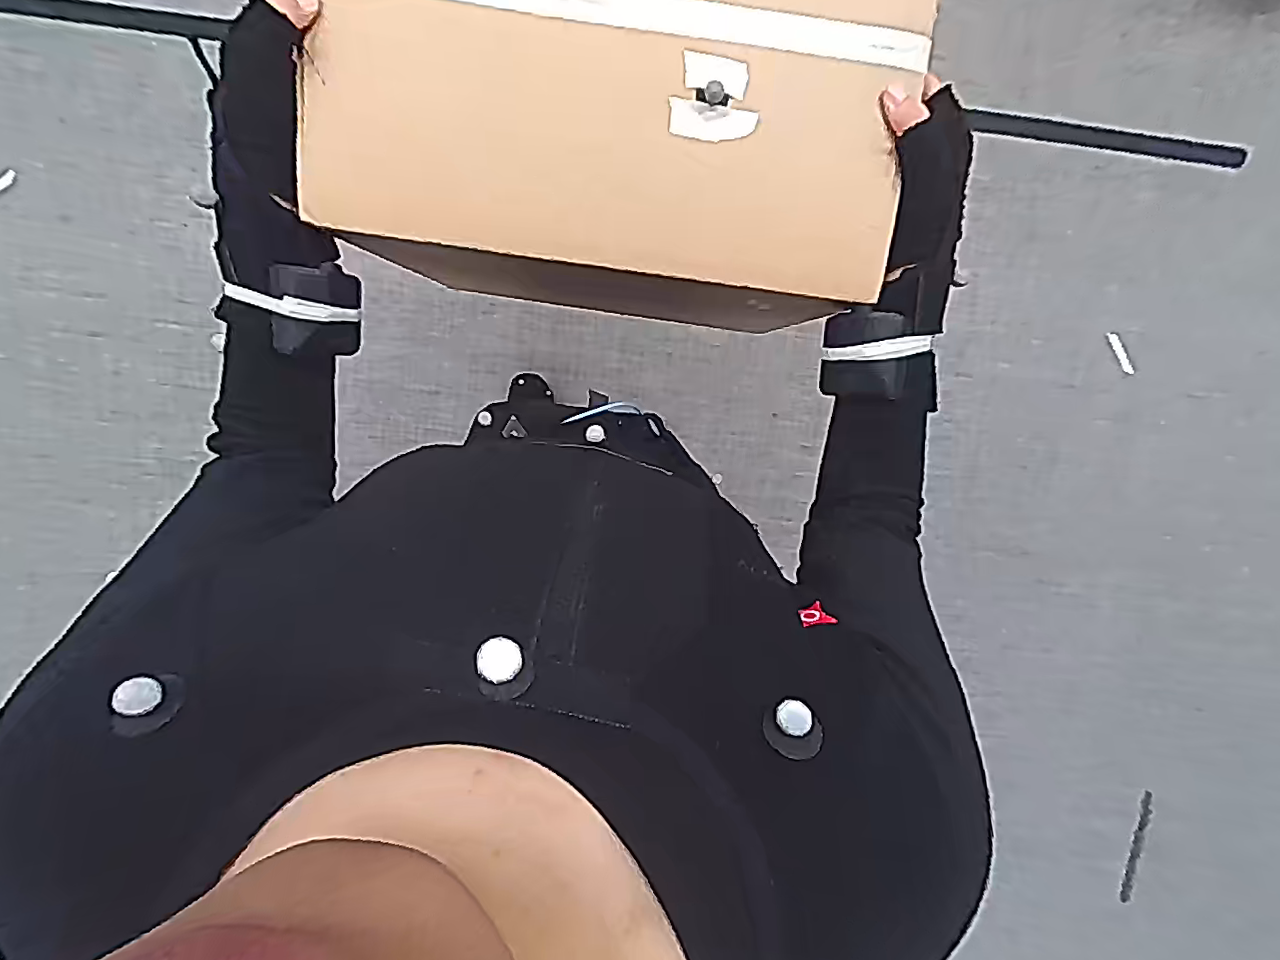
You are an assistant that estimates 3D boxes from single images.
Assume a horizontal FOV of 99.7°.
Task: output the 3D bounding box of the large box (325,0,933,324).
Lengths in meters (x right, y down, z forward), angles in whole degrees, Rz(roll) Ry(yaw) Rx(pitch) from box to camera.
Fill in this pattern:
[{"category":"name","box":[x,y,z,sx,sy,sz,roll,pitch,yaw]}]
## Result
[{"category":"large box","box":[-0.012,-0.337,0.504,0.408,0.320,0.320,7,102,-3]}]
